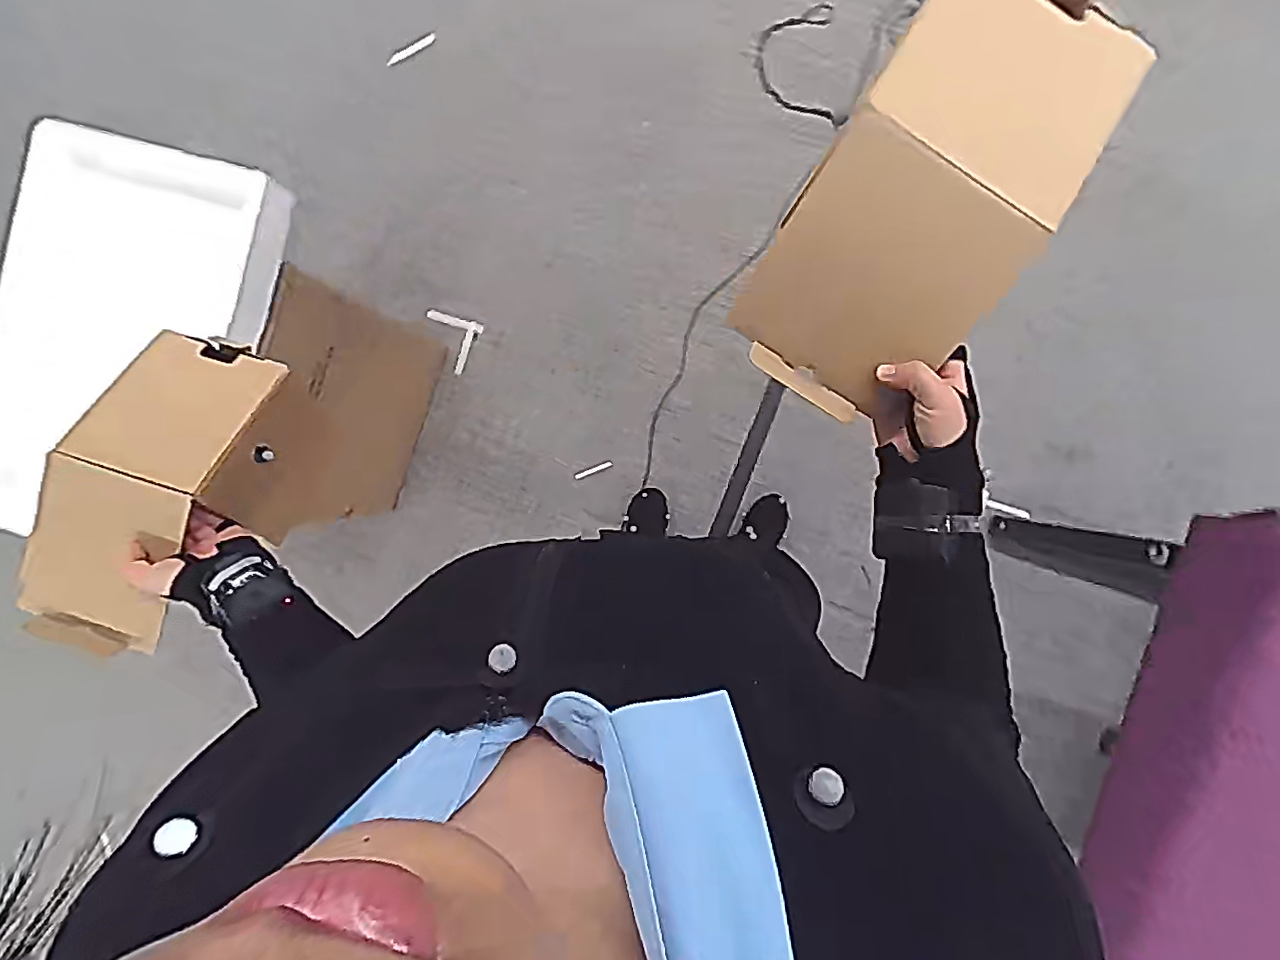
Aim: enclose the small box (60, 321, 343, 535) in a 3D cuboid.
[{"bbox_3d":[-0.501,-0.053,0.657,0.168,0.176,0.179,18,64,3],"label":"small box"}]
